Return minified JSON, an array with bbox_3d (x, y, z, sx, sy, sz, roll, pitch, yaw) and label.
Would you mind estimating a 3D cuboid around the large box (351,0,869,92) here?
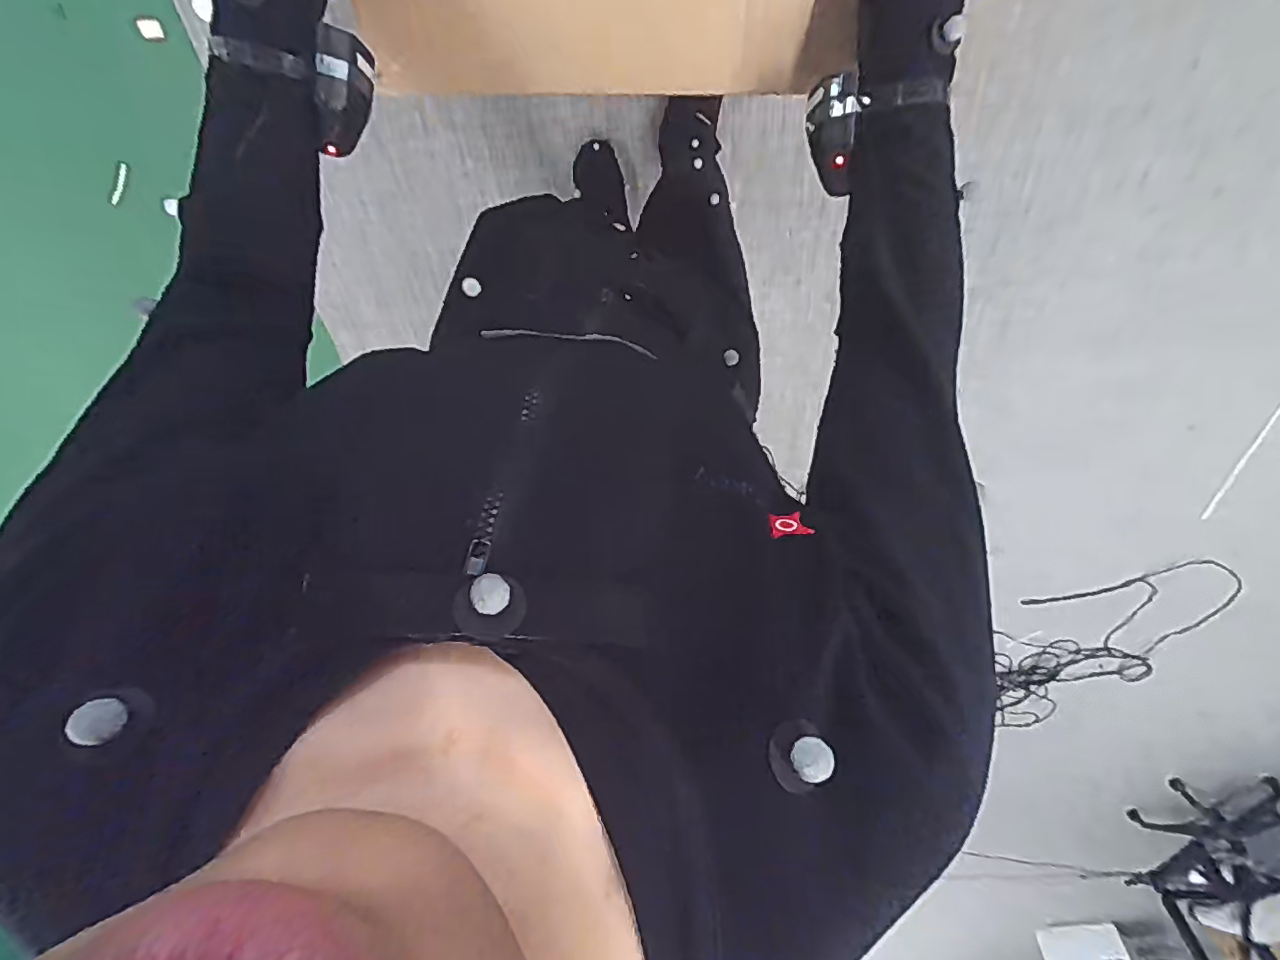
[{"bbox_3d":[-0.018,-0.539,0.455,0.408,0.320,0.320,2,130,4],"label":"large box"}]
